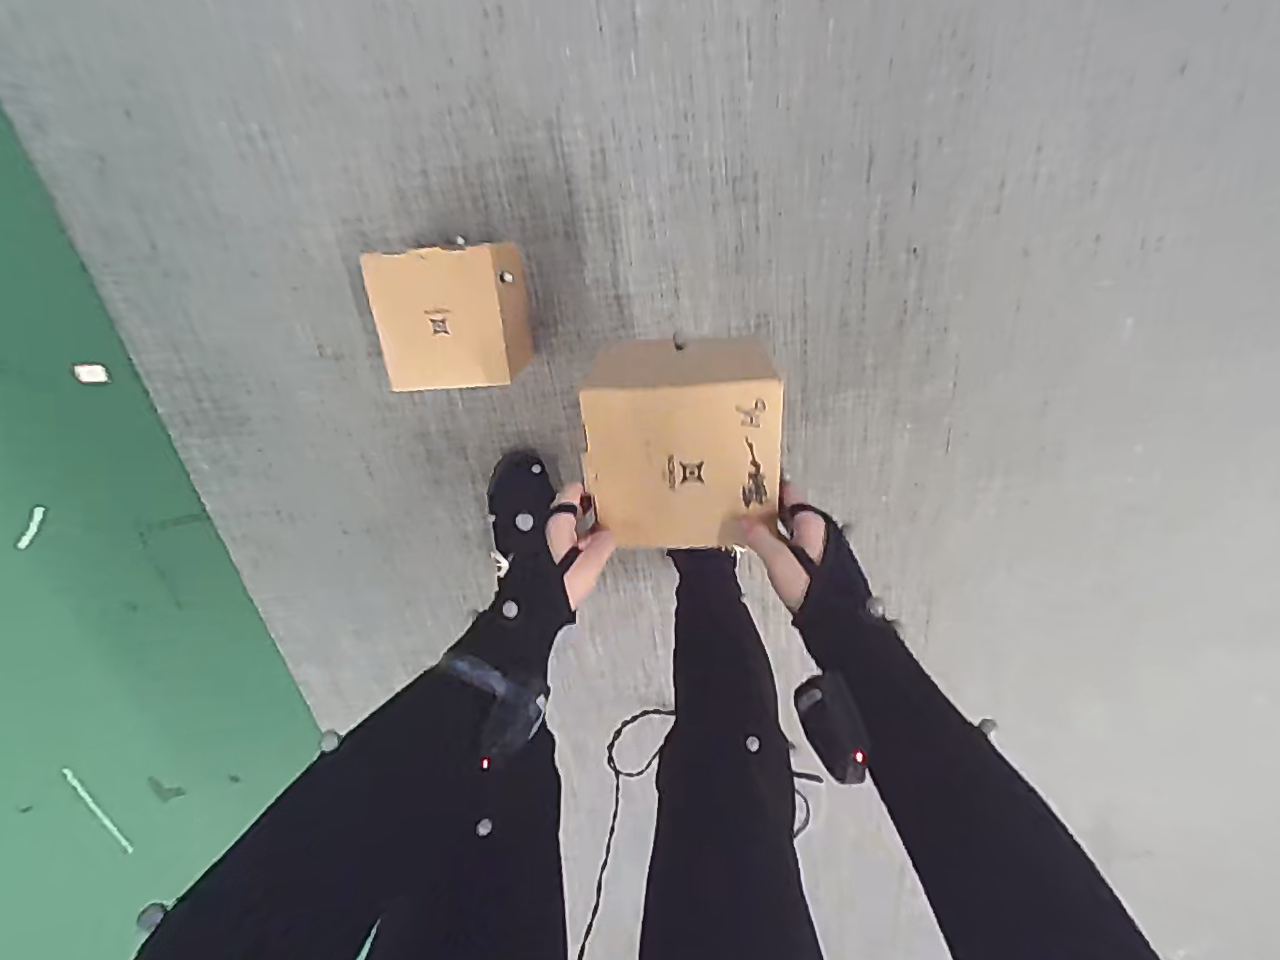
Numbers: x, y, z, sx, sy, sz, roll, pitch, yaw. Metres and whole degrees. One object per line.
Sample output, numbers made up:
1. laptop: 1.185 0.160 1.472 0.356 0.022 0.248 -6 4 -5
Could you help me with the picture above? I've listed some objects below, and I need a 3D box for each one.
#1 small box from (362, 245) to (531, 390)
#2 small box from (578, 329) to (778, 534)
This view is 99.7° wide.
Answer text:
1. small box: -0.261 -0.239 0.778 0.168 0.176 0.179 -4 113 1
2. small box: 0.044 -0.057 0.570 0.179 0.176 0.168 -1 117 7
